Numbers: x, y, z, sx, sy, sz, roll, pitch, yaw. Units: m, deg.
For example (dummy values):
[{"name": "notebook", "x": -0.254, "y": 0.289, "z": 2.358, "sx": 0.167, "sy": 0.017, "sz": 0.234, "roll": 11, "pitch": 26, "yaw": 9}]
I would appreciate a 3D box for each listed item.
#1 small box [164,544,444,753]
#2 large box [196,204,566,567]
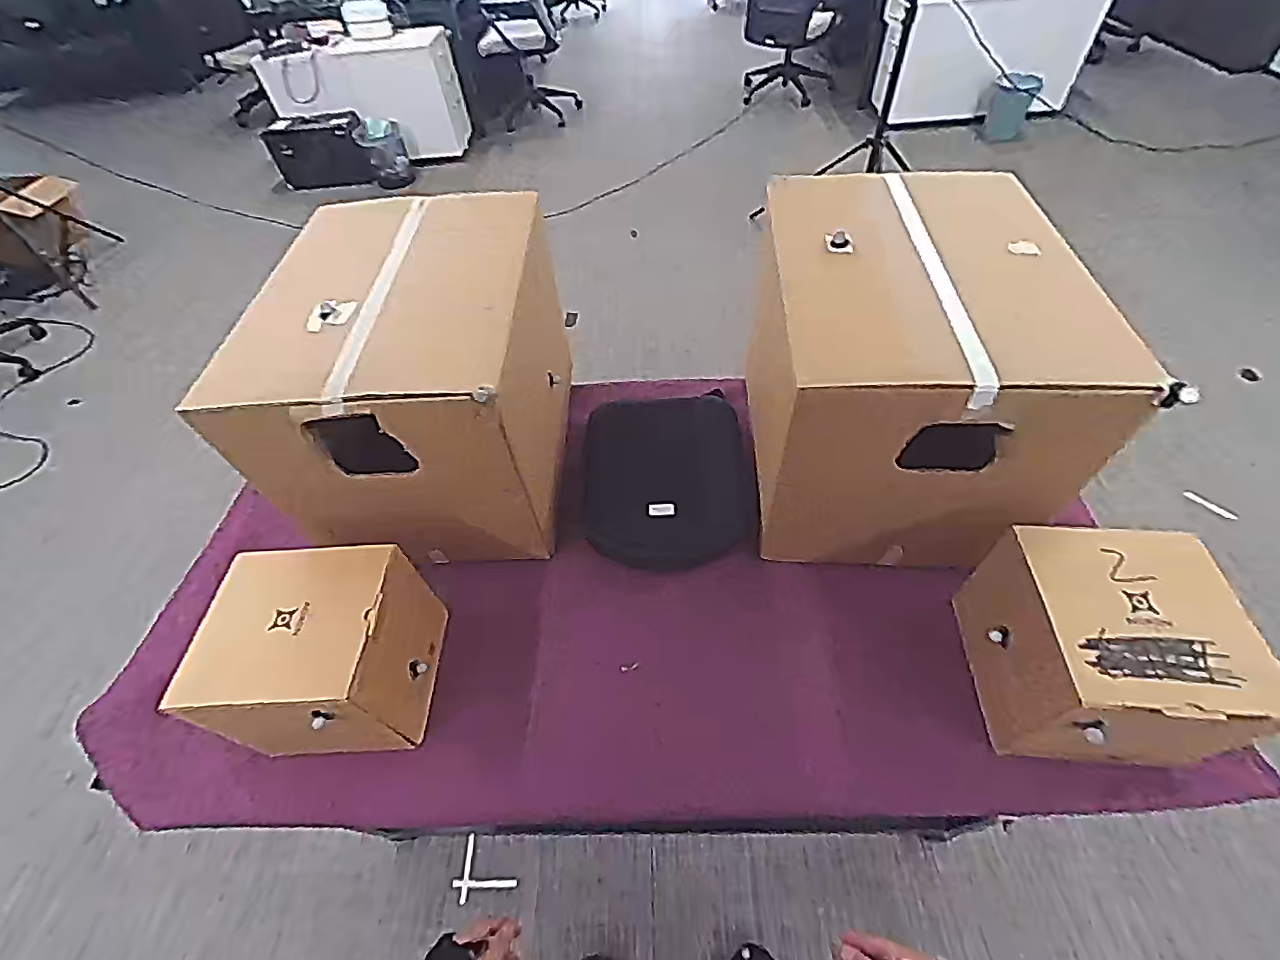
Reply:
[{"name": "small box", "x": -0.342, "y": 0.190, "z": 0.595, "sx": 0.179, "sy": 0.176, "sz": 0.168, "roll": -4, "pitch": 50, "yaw": 1}, {"name": "large box", "x": -0.282, "y": -0.129, "z": 0.756, "sx": 0.320, "sy": 0.320, "sz": 0.408, "roll": -4, "pitch": 54, "yaw": 2}]
